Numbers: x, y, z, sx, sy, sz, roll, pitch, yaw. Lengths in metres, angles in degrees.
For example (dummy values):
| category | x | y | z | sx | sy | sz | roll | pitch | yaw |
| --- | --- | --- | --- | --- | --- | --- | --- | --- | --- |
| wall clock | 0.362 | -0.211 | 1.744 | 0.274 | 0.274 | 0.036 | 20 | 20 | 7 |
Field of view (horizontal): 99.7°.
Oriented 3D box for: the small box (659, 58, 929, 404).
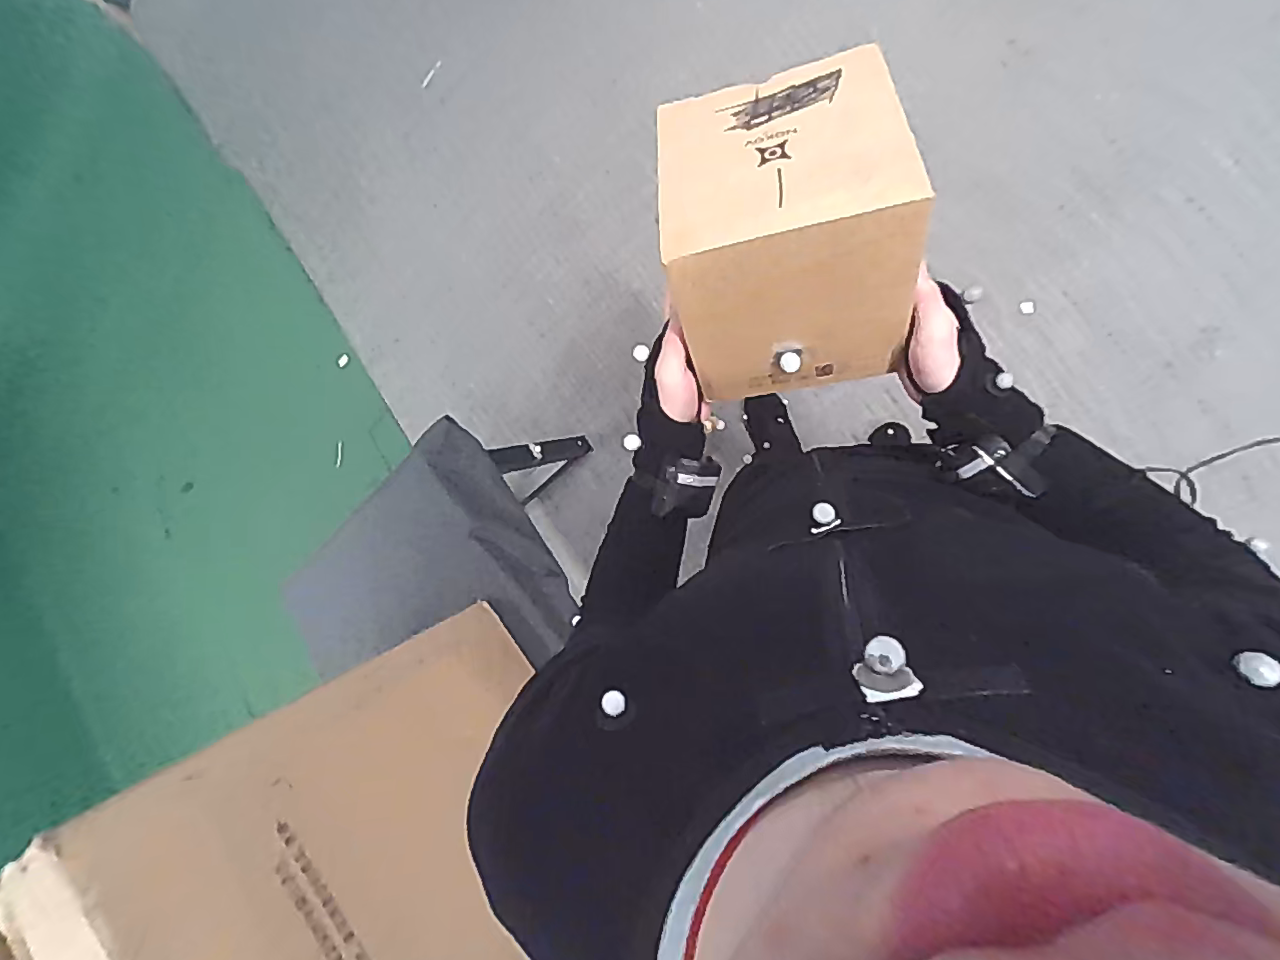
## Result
| category | x | y | z | sx | sy | sz | roll | pitch | yaw |
| --- | --- | --- | --- | --- | --- | --- | --- | --- | --- |
| small box | 0.115 | -0.187 | 0.441 | 0.168 | 0.176 | 0.179 | -6 | 62 | 15 |
